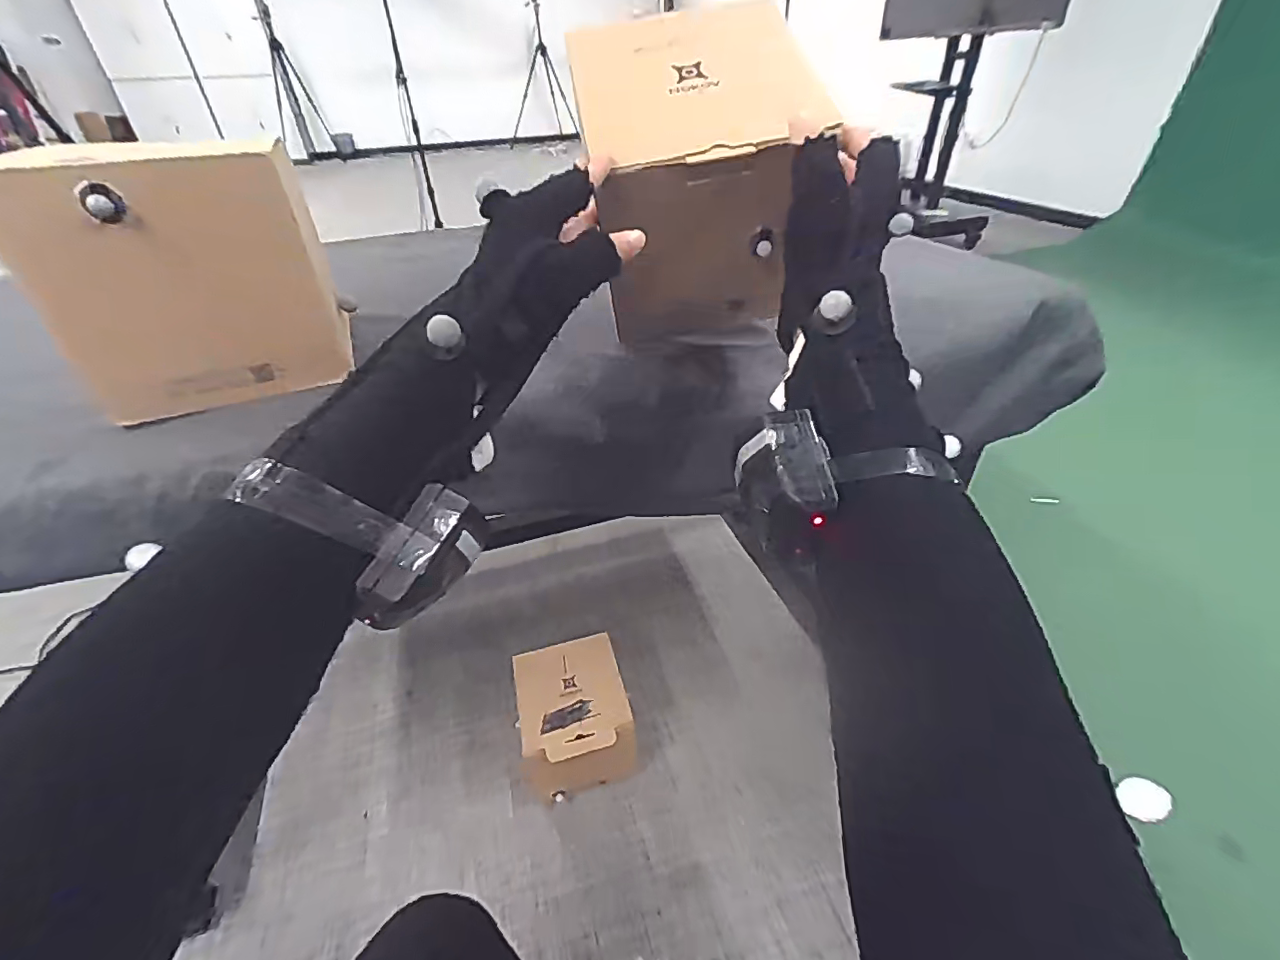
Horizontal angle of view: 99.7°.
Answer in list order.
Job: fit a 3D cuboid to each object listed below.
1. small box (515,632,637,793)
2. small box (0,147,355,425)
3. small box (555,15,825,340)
[{"bbox_3d":[-0.105,0.390,0.900,0.168,0.176,0.179,-12,37,-11],"label":"small box"},{"bbox_3d":[-0.350,-0.166,0.444,0.168,0.176,0.179,-18,38,-19],"label":"small box"},{"bbox_3d":[0.035,-0.239,0.457,0.168,0.176,0.179,-12,61,-1],"label":"small box"}]
